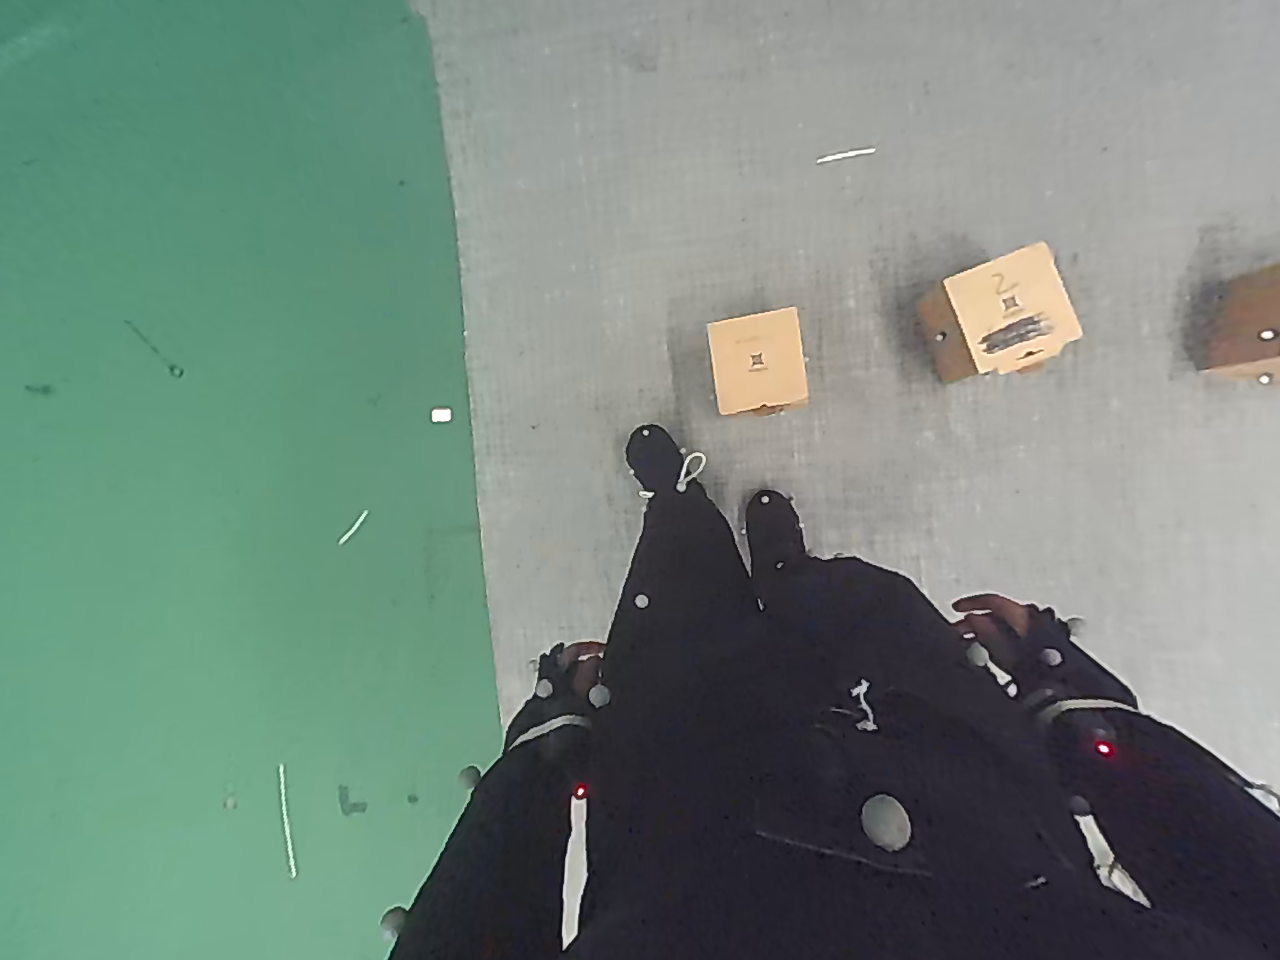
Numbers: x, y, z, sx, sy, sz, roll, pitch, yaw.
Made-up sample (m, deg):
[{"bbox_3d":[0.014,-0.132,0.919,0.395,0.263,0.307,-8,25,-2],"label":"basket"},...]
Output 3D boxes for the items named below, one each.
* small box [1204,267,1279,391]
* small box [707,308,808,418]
[{"bbox_3d":[1.109,-0.255,0.894,0.168,0.176,0.179,14,96,9],"label":"small box"},{"bbox_3d":[0.229,-0.218,1.065,0.168,0.176,0.179,-8,91,10],"label":"small box"}]
